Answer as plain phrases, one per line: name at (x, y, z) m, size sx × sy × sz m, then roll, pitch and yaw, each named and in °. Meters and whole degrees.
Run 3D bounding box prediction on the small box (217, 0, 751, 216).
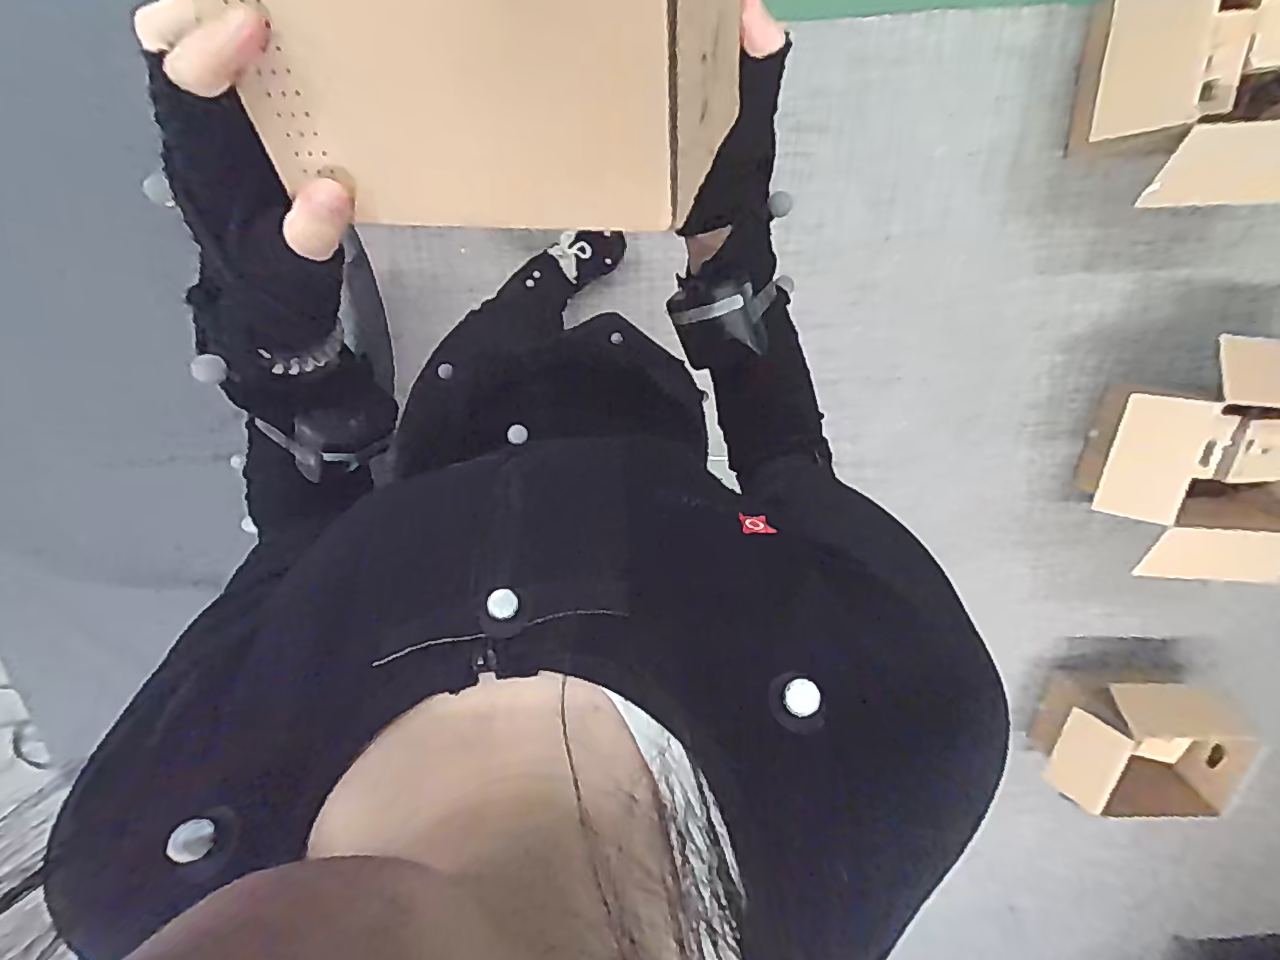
small box at (-0.048, -0.219, 0.207) m, size 0.176 × 0.168 × 0.179 m, roll 8°, pitch 136°, yaw 13°
